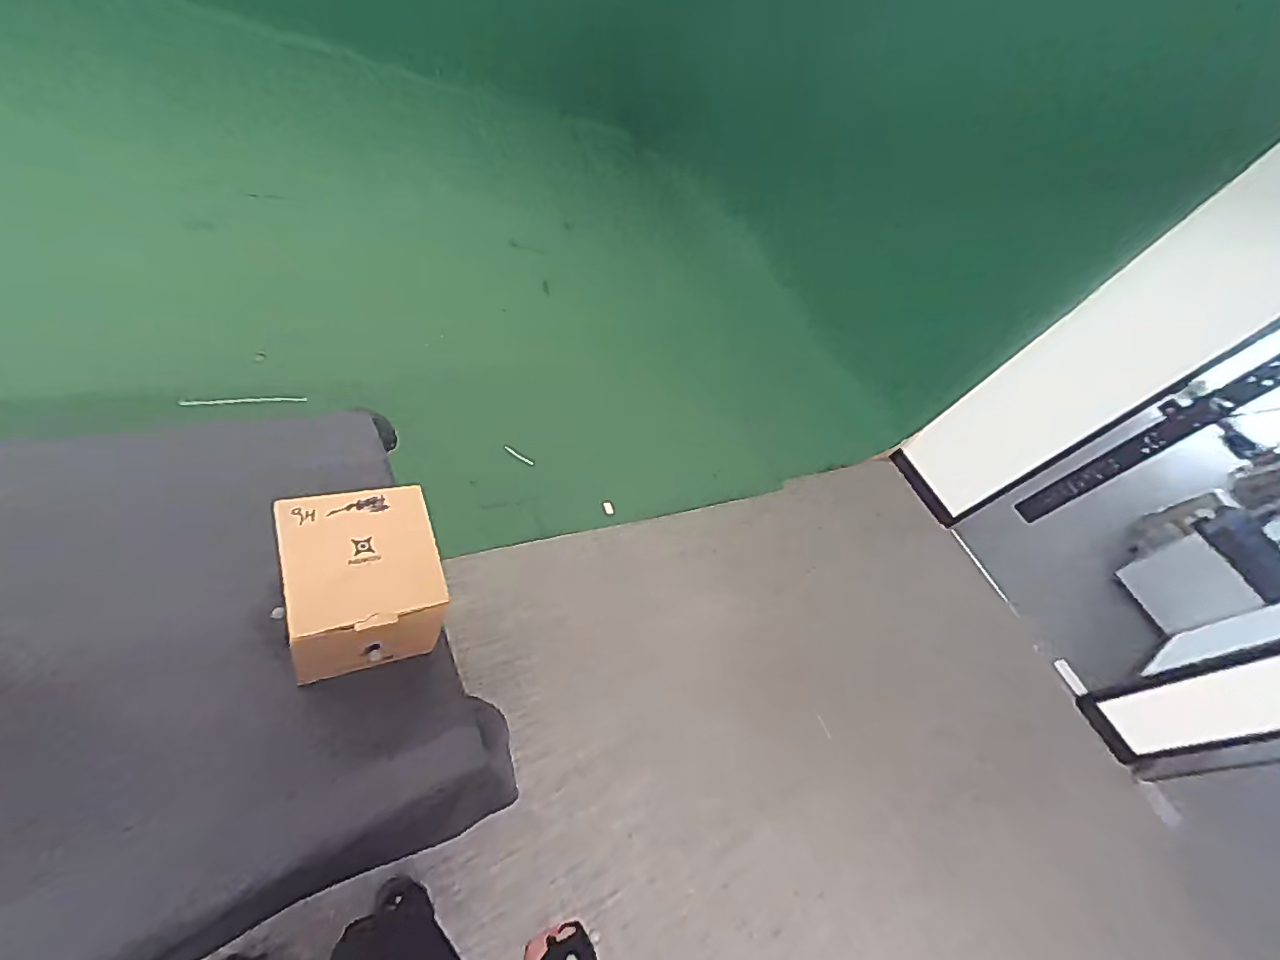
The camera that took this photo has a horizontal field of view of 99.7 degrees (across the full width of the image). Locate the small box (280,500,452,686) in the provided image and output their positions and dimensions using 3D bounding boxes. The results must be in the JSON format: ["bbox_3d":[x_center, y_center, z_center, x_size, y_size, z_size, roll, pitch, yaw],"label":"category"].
[{"bbox_3d":[-0.356,0.151,0.702,0.168,0.176,0.179,-8,60,-33],"label":"small box"}]
